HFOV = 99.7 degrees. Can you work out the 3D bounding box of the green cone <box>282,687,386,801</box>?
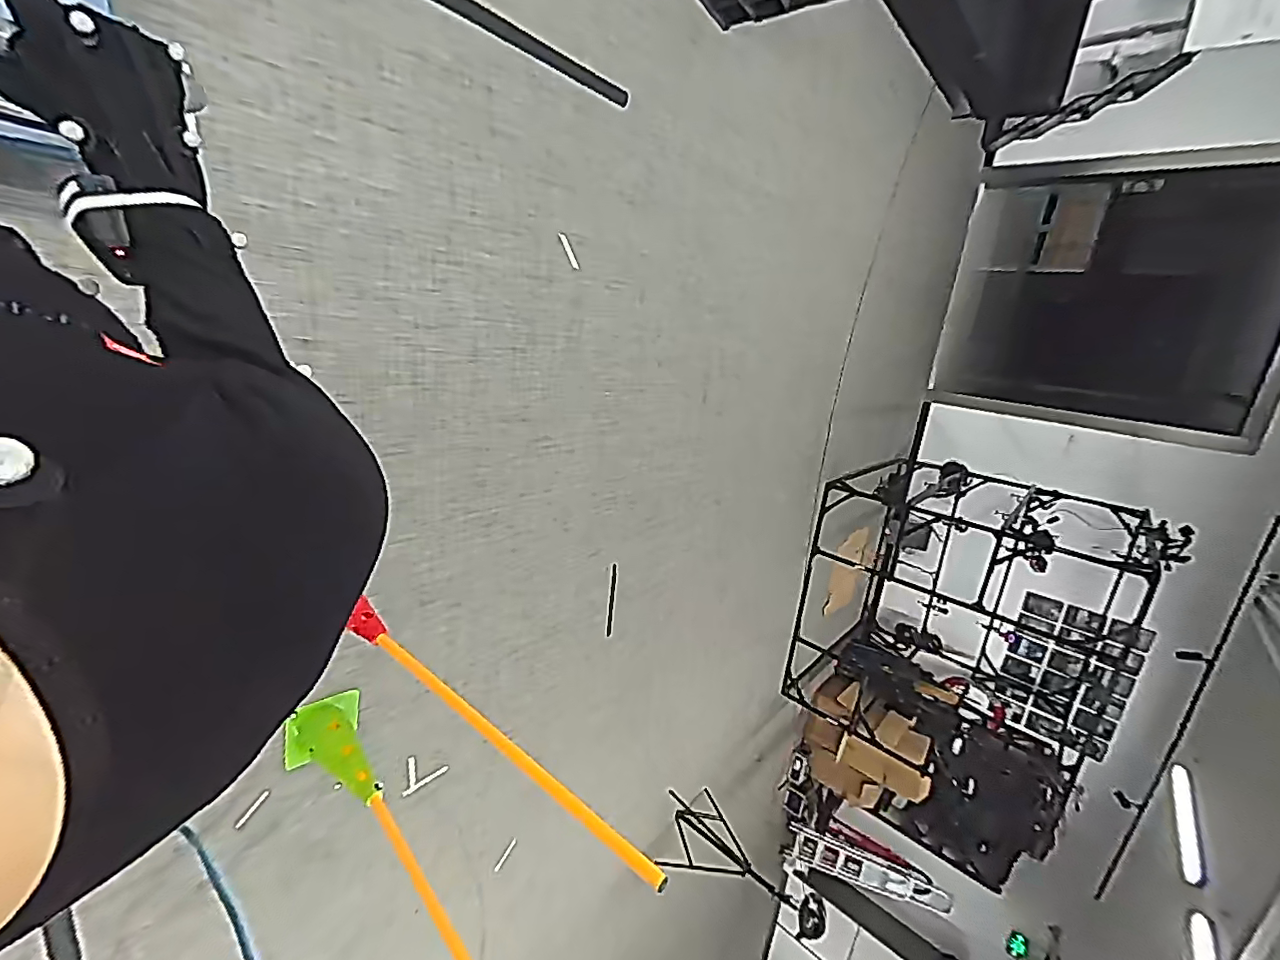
[{"bbox_3d":[-0.825,0.781,1.516,0.202,0.368,0.200,-7,111,-51],"label":"green cone"}]
